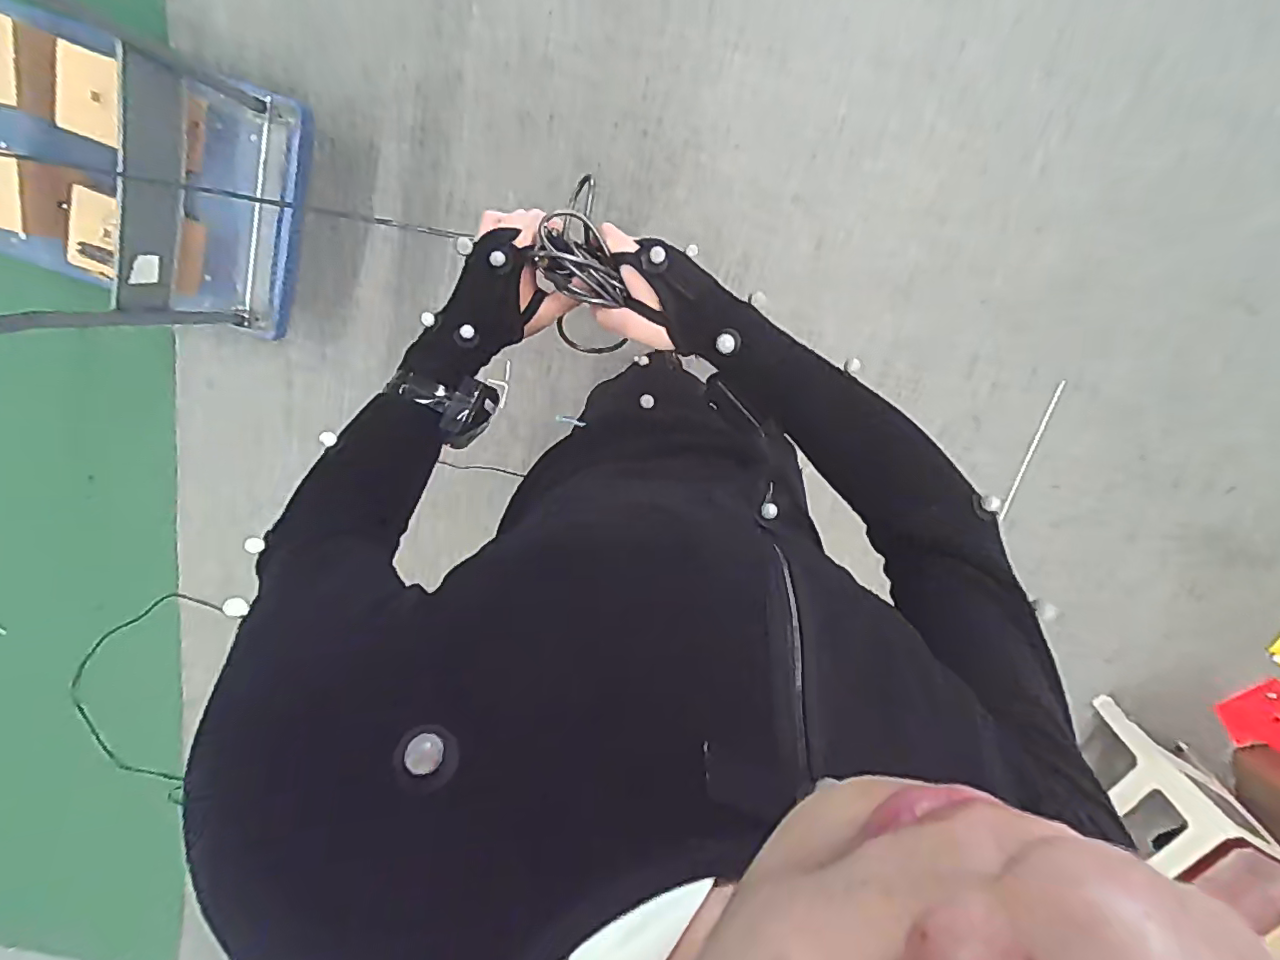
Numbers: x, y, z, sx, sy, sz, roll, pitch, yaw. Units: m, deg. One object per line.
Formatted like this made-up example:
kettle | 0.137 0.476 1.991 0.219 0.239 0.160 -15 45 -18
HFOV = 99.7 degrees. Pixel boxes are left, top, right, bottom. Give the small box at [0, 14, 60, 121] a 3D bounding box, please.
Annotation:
small box | -1.356 -0.898 1.175 0.179 0.176 0.168 17 107 -3

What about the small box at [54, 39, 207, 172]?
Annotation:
small box | -1.115 -0.810 1.191 0.179 0.176 0.168 19 107 -4

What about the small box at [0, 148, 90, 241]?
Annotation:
small box | -1.432 -0.664 1.249 0.179 0.176 0.168 15 106 -2
